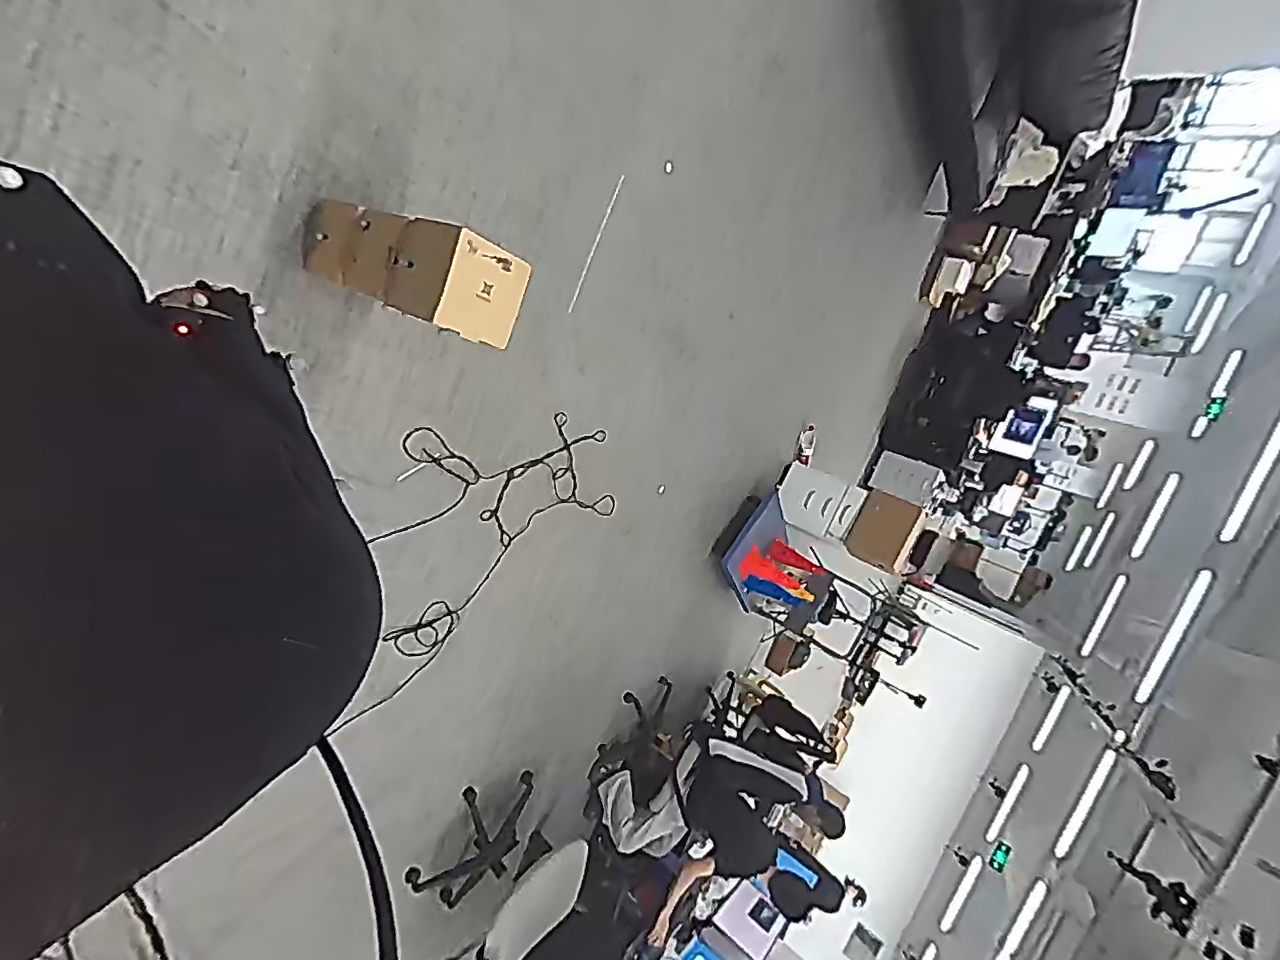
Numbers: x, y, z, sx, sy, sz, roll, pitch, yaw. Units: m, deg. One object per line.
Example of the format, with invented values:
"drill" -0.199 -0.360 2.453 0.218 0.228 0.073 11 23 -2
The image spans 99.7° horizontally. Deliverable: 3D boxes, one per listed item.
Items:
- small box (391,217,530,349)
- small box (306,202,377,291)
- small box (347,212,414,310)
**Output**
"small box" -0.349 -0.377 1.037 0.168 0.176 0.179 10 104 -56
"small box" -0.603 -0.500 1.205 0.179 0.176 0.168 9 104 -55
"small box" -0.474 -0.437 1.124 0.179 0.176 0.168 9 104 -56
